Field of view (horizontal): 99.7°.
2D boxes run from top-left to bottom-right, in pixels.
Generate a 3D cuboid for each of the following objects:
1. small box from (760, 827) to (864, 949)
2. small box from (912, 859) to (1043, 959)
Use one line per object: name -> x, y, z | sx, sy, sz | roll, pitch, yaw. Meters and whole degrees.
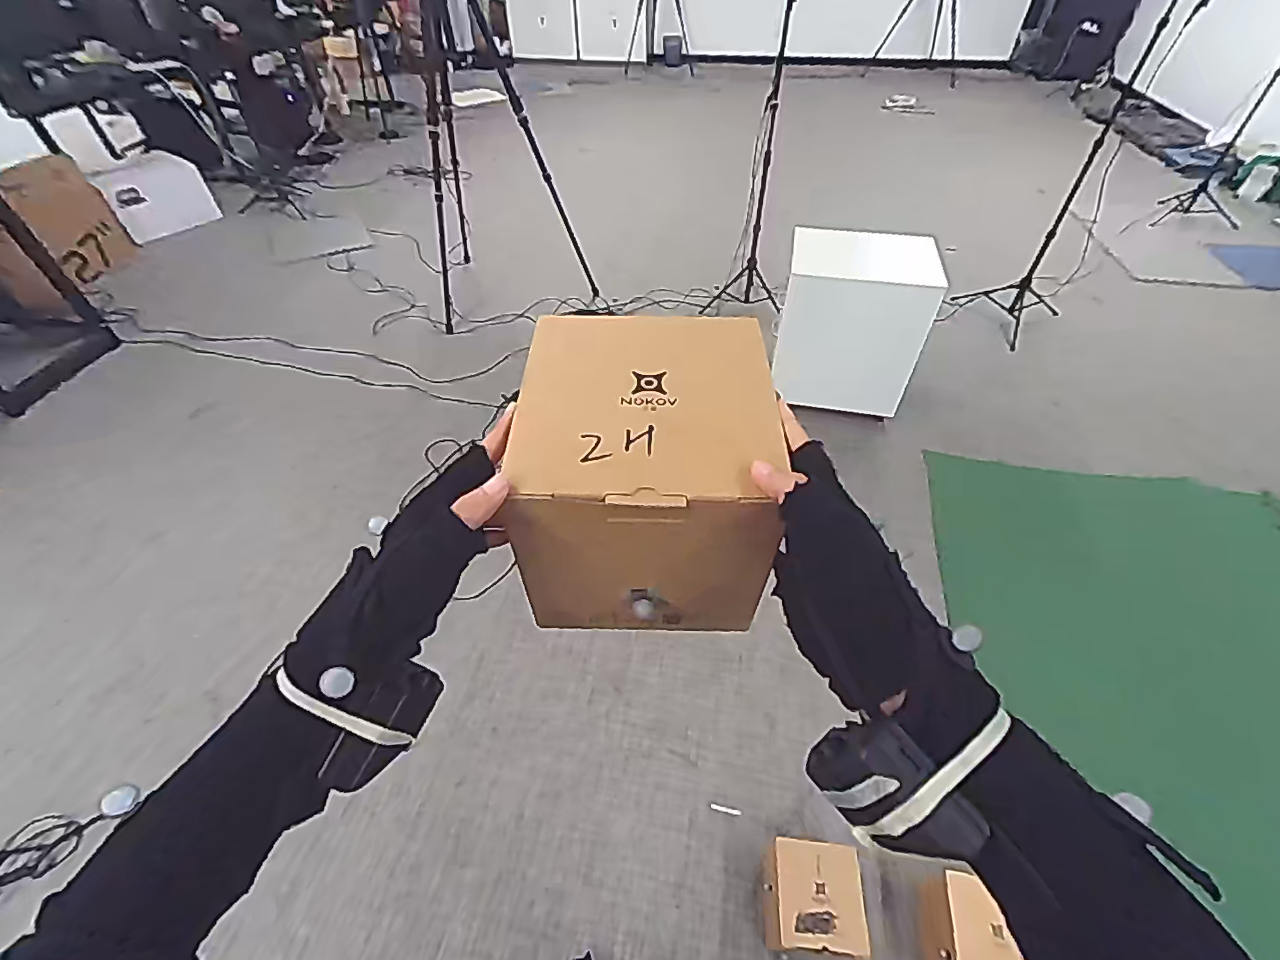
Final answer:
small box -> 0.347, 0.848, 1.122 | 0.168, 0.176, 0.179 | 5, 47, 4
small box -> 0.665, 0.894, 1.082 | 0.168, 0.176, 0.179 | 8, 49, 9
